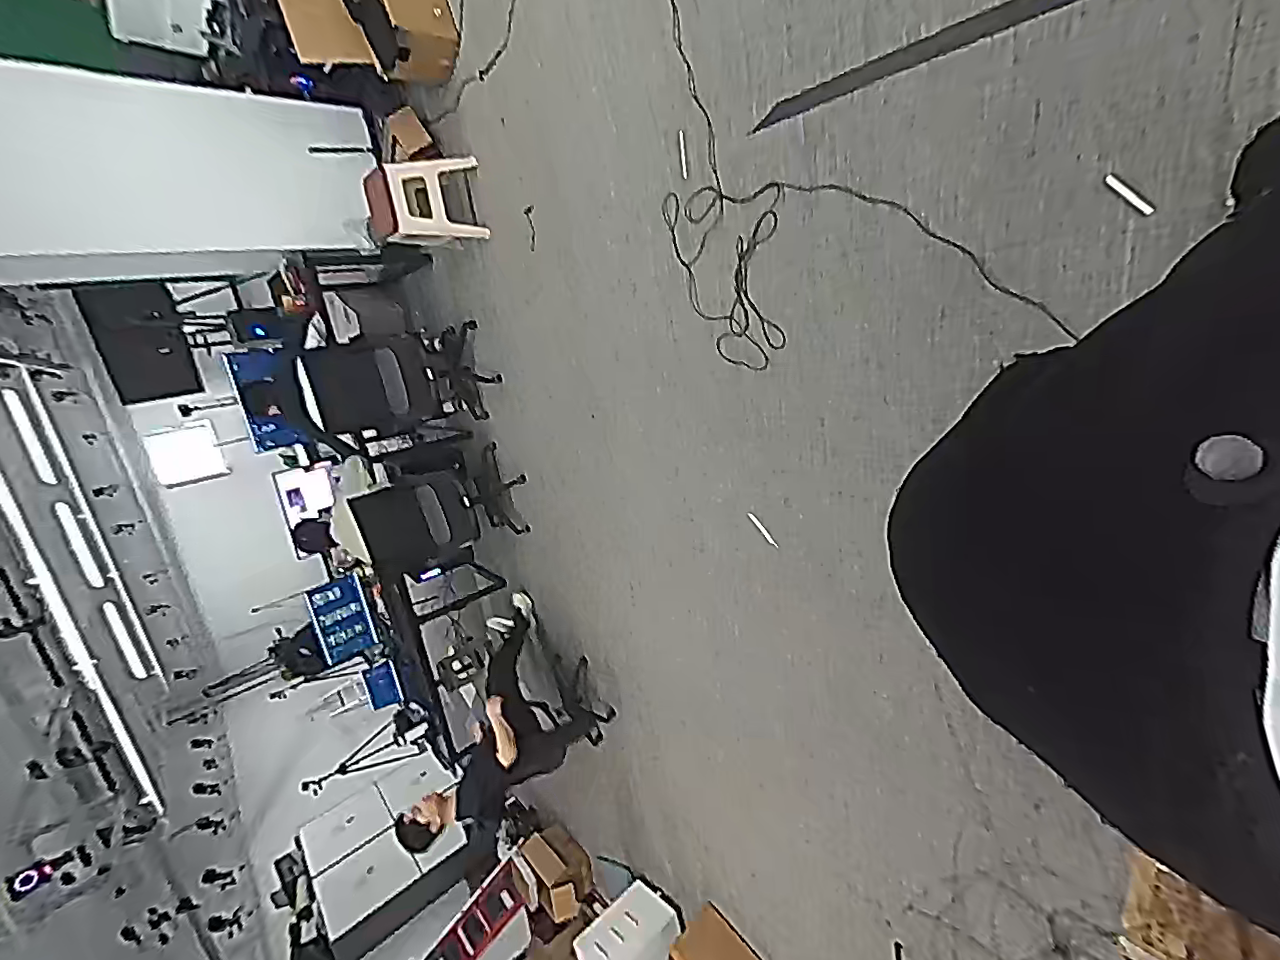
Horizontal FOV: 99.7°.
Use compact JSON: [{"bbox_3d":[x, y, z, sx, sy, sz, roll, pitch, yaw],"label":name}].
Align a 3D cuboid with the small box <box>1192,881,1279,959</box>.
[{"bbox_3d":[0.921,0.751,0.782,0.168,0.176,0.179,11,112,48],"label":"small box"}]
